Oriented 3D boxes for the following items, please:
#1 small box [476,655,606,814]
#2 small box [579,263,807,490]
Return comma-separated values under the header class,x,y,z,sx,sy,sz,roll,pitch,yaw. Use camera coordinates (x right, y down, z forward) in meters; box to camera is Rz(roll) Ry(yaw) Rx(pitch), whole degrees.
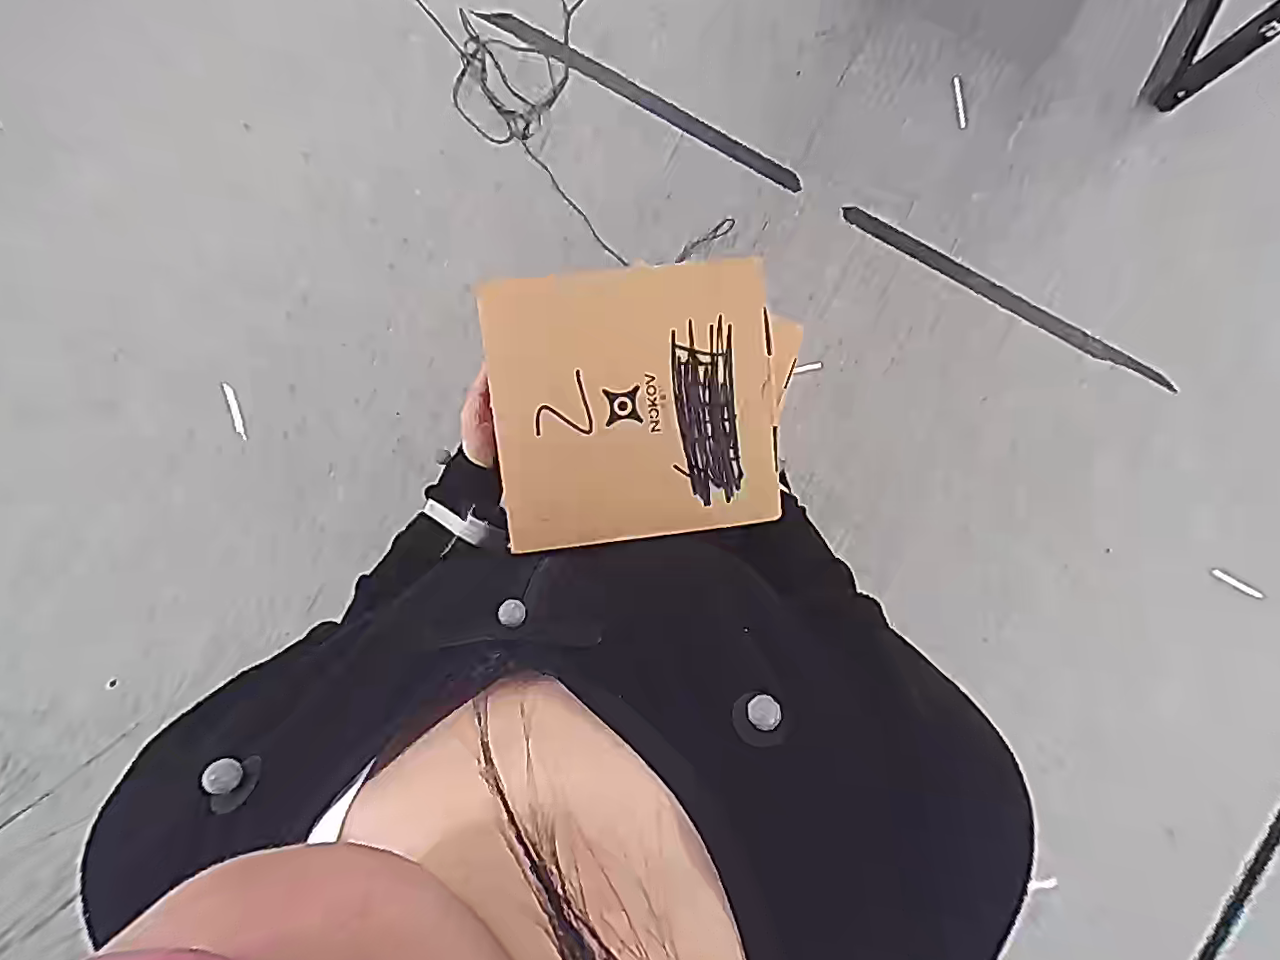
class,x,y,z,sx,sy,sz,roll,pitch,yaw
small box,-0.165,0.440,0.966,0.168,0.176,0.179,21,91,0
small box,0.042,-0.102,0.584,0.179,0.176,0.168,20,91,-8
